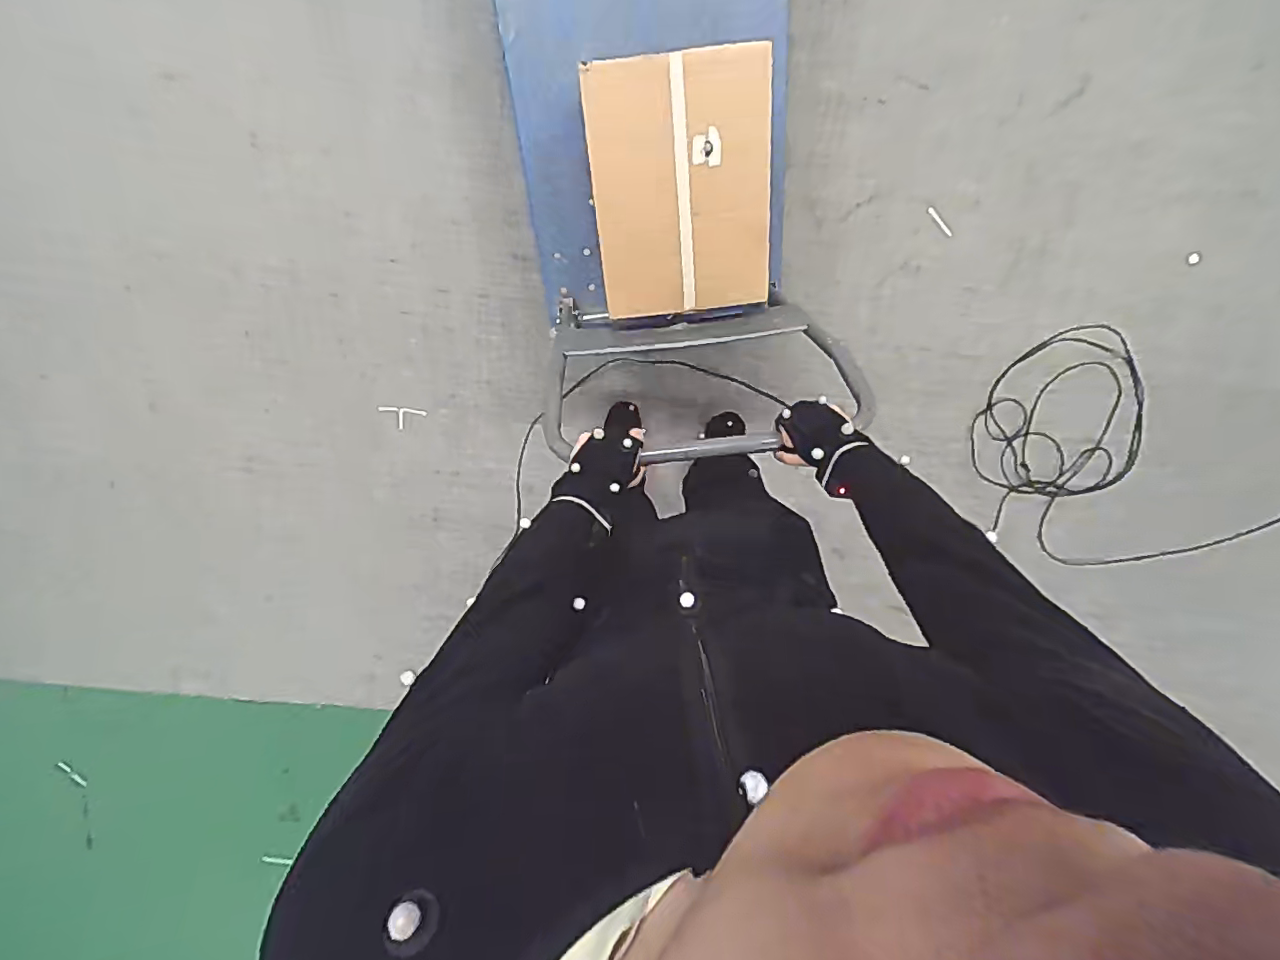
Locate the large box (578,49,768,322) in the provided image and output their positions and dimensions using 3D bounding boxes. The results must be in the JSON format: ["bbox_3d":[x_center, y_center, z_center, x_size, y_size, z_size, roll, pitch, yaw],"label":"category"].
[{"bbox_3d":[0.068,-0.569,1.090,0.320,0.320,0.408,-7,119,0],"label":"large box"}]
